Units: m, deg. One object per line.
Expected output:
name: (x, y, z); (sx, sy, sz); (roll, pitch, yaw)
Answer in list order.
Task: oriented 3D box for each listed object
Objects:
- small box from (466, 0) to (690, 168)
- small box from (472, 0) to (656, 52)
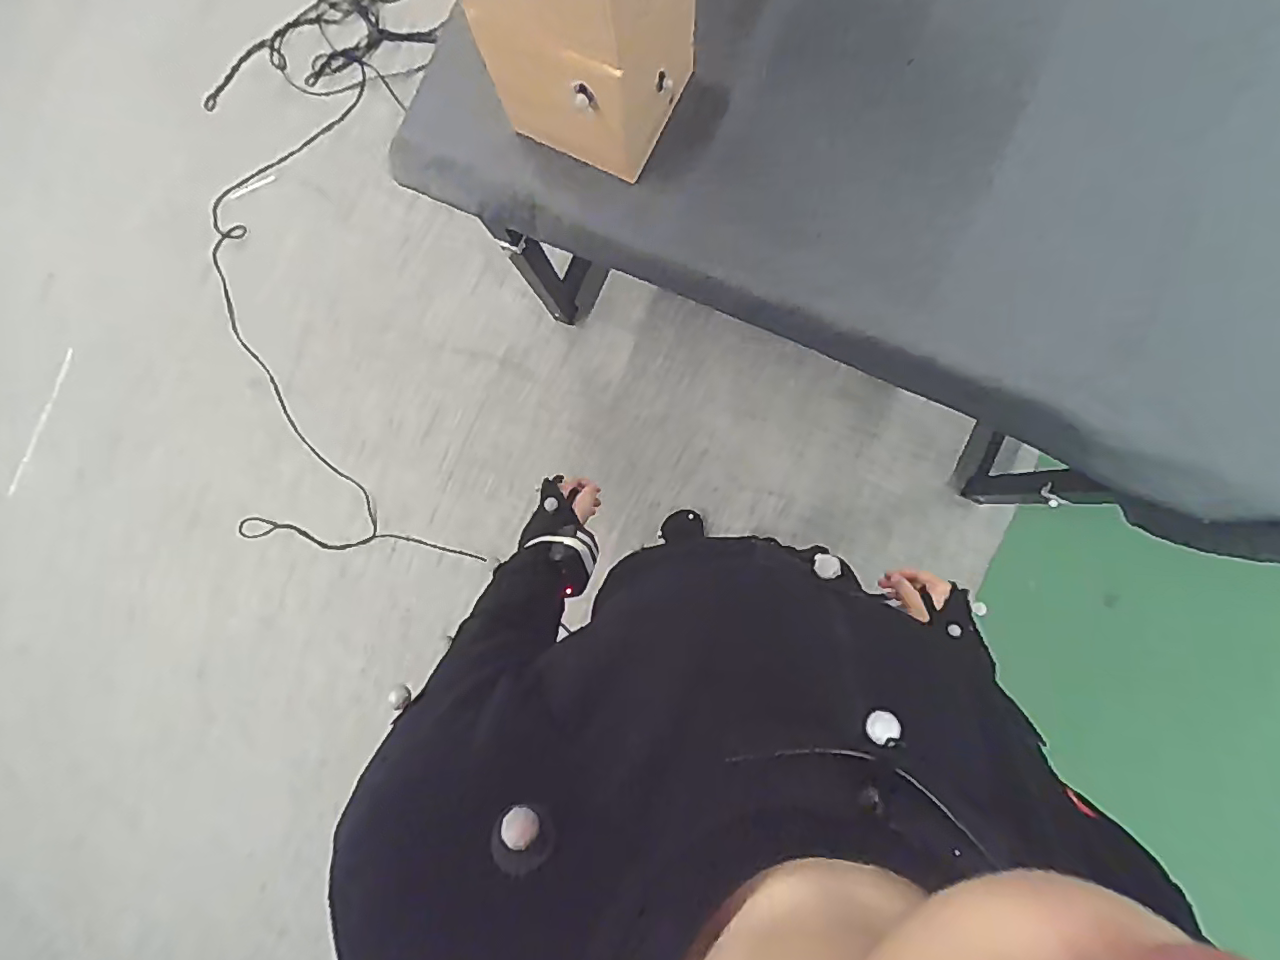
small box: (-0.052, -0.488, 0.597); (0.179, 0.176, 0.168); (27, 88, 5)
small box: (-0.065, -0.501, 0.435); (0.179, 0.176, 0.168); (23, 89, 5)
